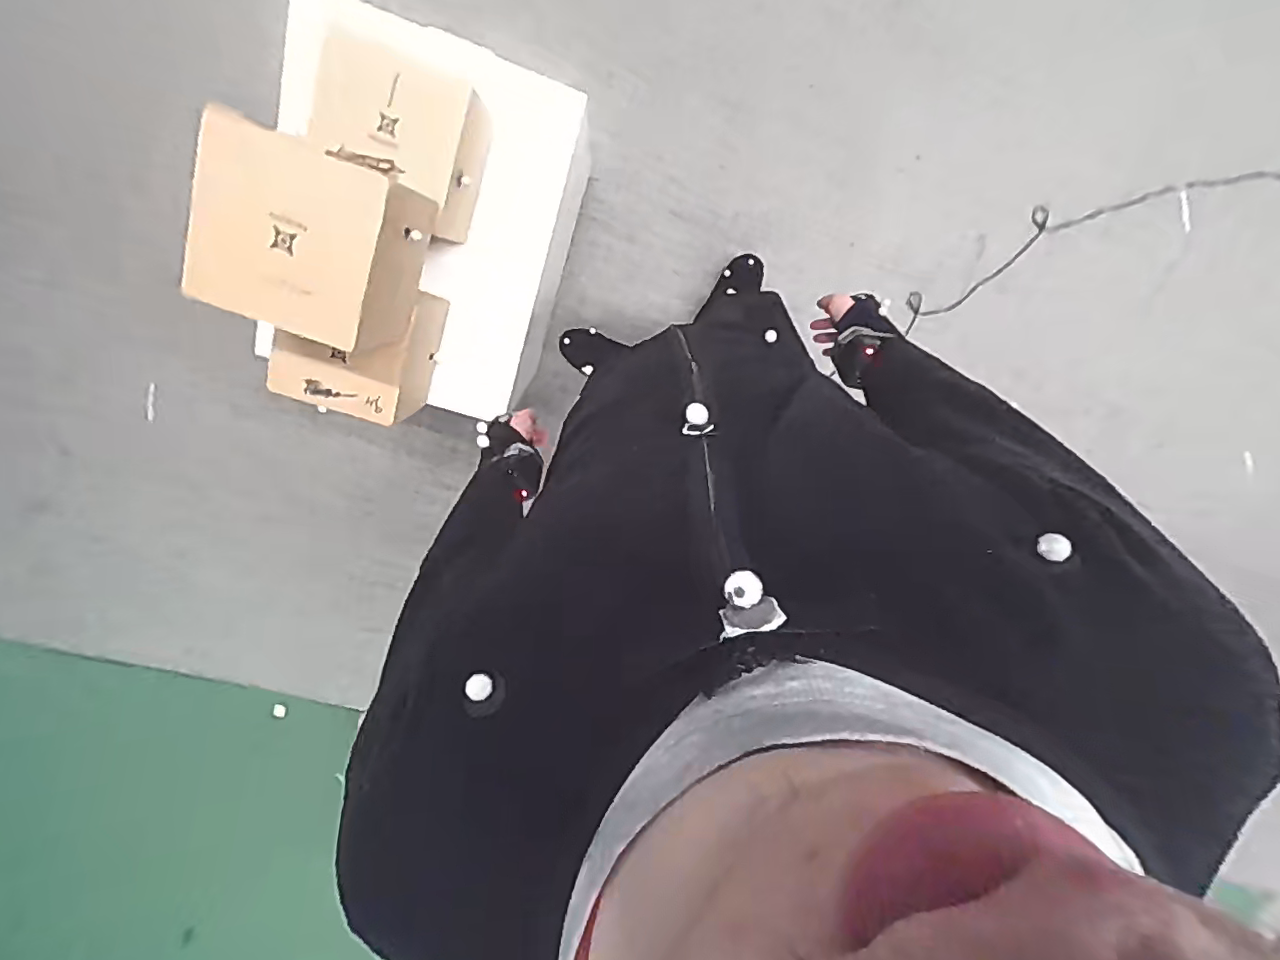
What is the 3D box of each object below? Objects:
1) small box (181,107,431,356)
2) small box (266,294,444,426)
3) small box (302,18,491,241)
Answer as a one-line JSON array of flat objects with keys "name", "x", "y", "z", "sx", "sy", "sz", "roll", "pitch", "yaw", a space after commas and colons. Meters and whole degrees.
[{"name": "small box", "x": -0.345, "y": -0.256, "z": 0.589, "sx": 0.168, "sy": 0.176, "sz": 0.179, "roll": 18, "pitch": 109, "yaw": -10}, {"name": "small box", "x": -0.396, "y": -0.199, "z": 0.780, "sx": 0.168, "sy": 0.176, "sz": 0.179, "roll": 17, "pitch": 106, "yaw": -10}, {"name": "small box", "x": -0.304, "y": -0.429, "z": 0.701, "sx": 0.168, "sy": 0.176, "sz": 0.179, "roll": 18, "pitch": 107, "yaw": -11}]
